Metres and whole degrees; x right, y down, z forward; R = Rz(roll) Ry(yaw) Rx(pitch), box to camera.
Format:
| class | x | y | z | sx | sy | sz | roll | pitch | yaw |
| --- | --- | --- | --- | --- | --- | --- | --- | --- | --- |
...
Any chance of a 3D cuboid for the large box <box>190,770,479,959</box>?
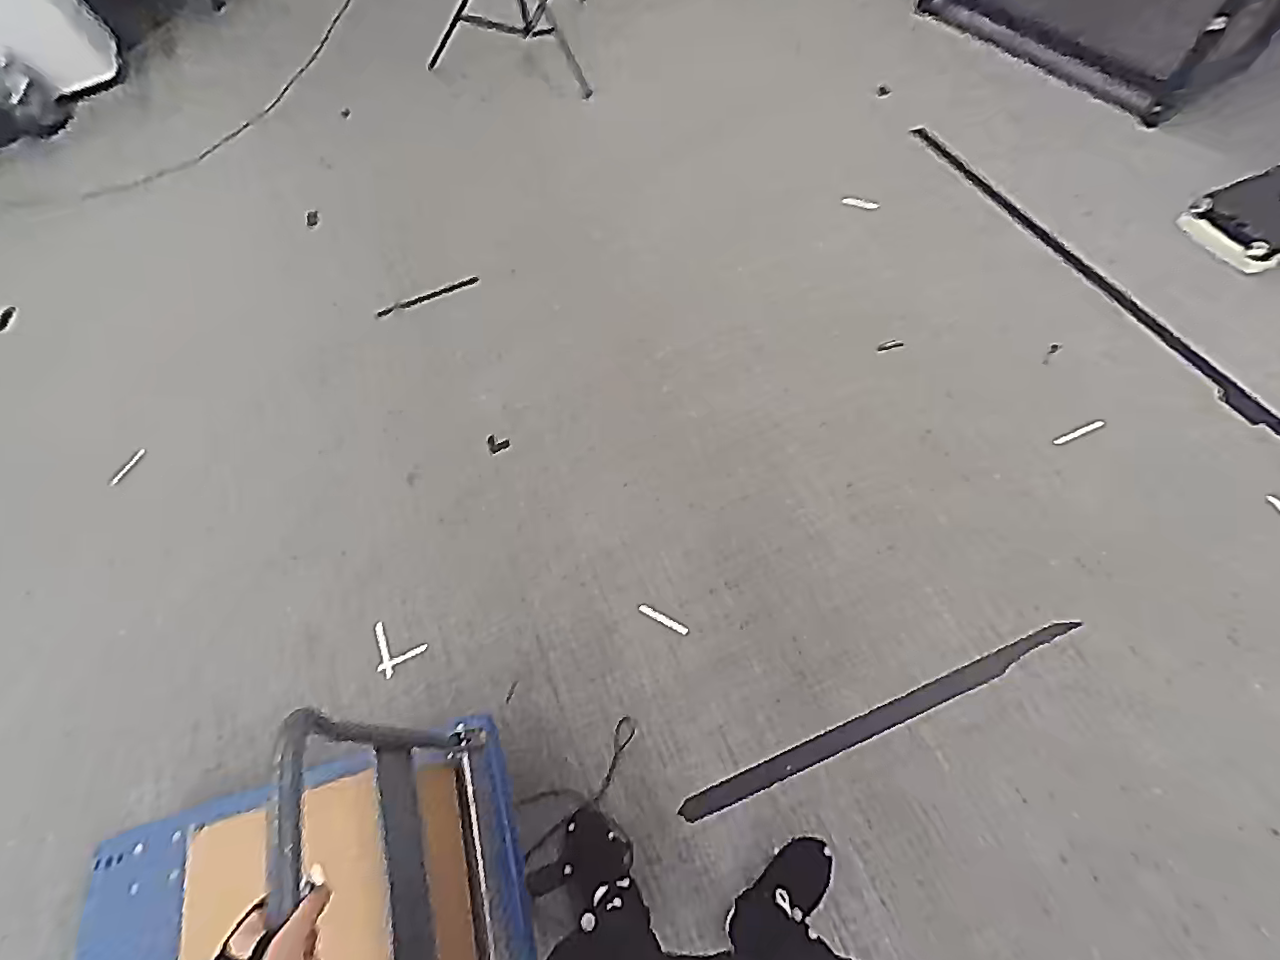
| class | x | y | z | sx | sy | sz | roll | pitch | yaw |
| --- | --- | --- | --- | --- | --- | --- | --- | --- | --- |
| large box | -0.497 | 0.762 | 0.923 | 0.320 | 0.320 | 0.408 | -18 | 62 | -3 |
